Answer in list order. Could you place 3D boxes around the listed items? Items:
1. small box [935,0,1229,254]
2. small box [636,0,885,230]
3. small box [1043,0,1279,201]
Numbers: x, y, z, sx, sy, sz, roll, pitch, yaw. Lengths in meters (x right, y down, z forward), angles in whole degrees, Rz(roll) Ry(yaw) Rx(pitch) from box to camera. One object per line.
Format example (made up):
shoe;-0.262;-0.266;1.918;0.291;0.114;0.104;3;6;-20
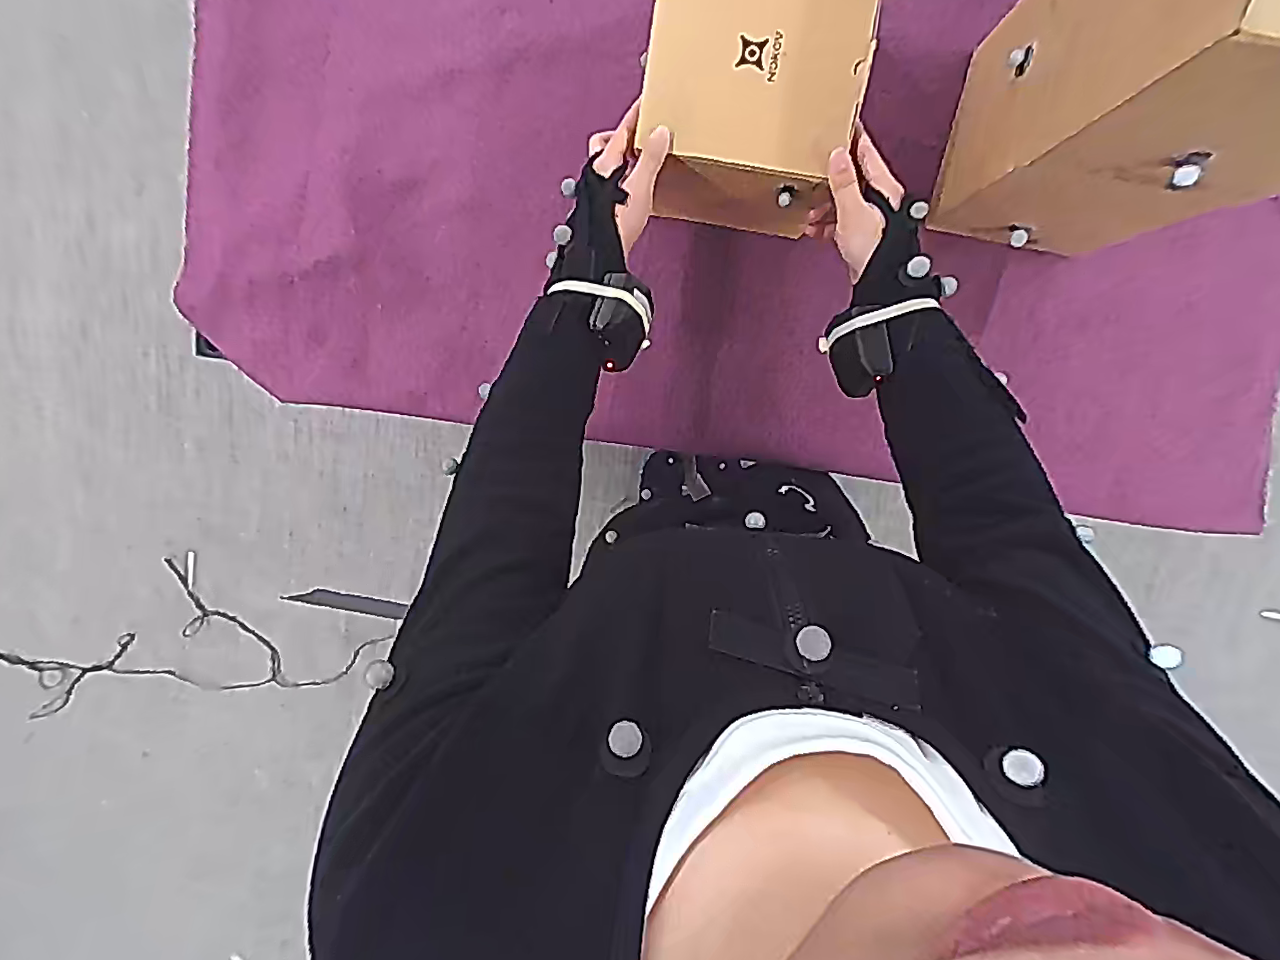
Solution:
small box;0.400;-0.326;0.485;0.168;0.176;0.179;13;100;2
small box;0.100;-0.350;0.502;0.179;0.176;0.168;10;99;1
small box;0.393;-0.299;0.323;0.168;0.176;0.179;12;100;2
